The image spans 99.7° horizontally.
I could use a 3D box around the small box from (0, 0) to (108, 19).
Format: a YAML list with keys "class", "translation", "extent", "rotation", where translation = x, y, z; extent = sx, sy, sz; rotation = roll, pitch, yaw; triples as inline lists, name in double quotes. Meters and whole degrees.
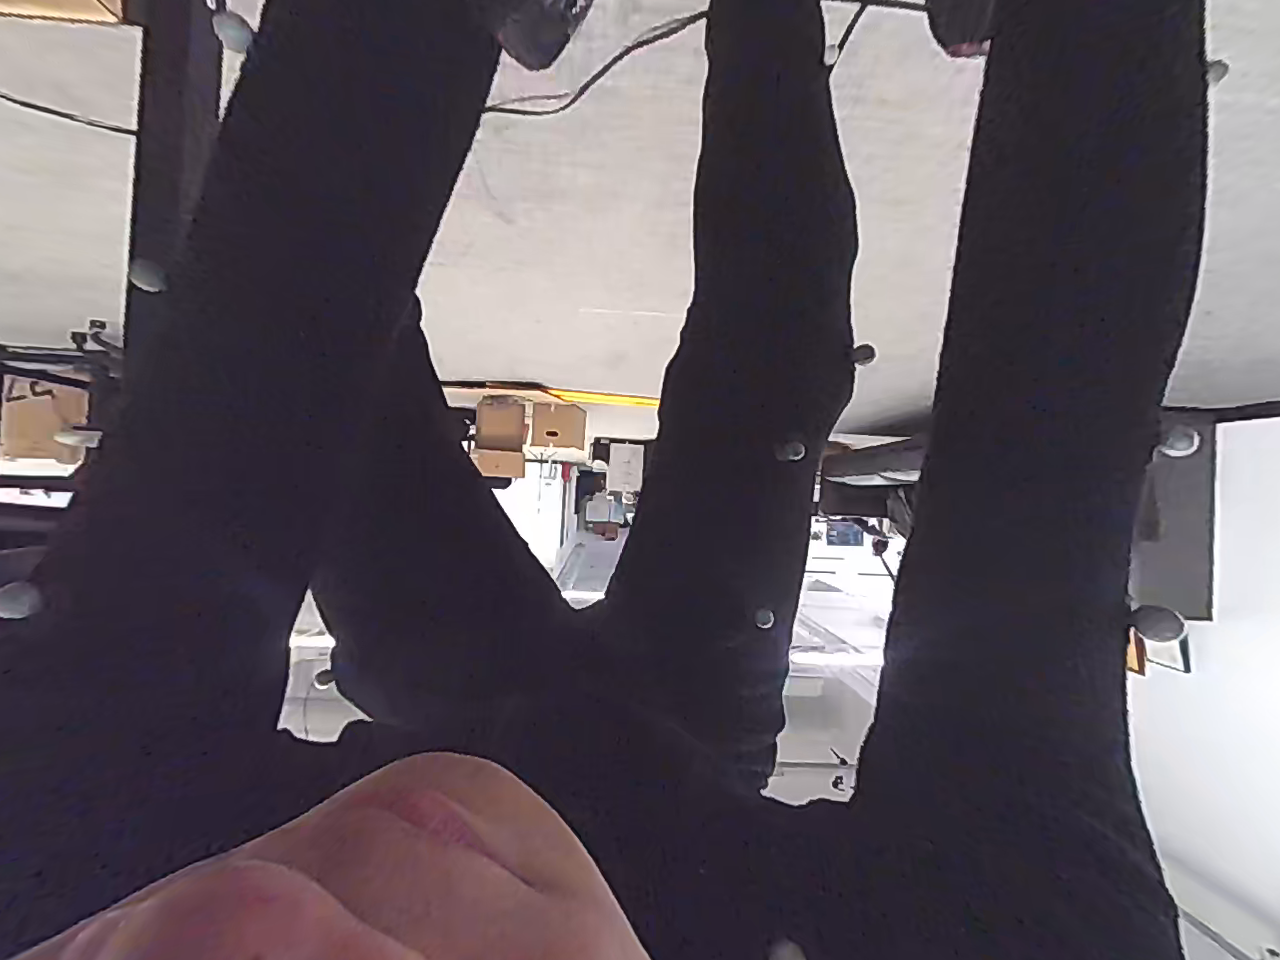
- class: "small box"
  translation: [-0.574, -0.527, 0.427]
  extent: [0.168, 0.176, 0.179]
  rotation: [3, 179, -2]
